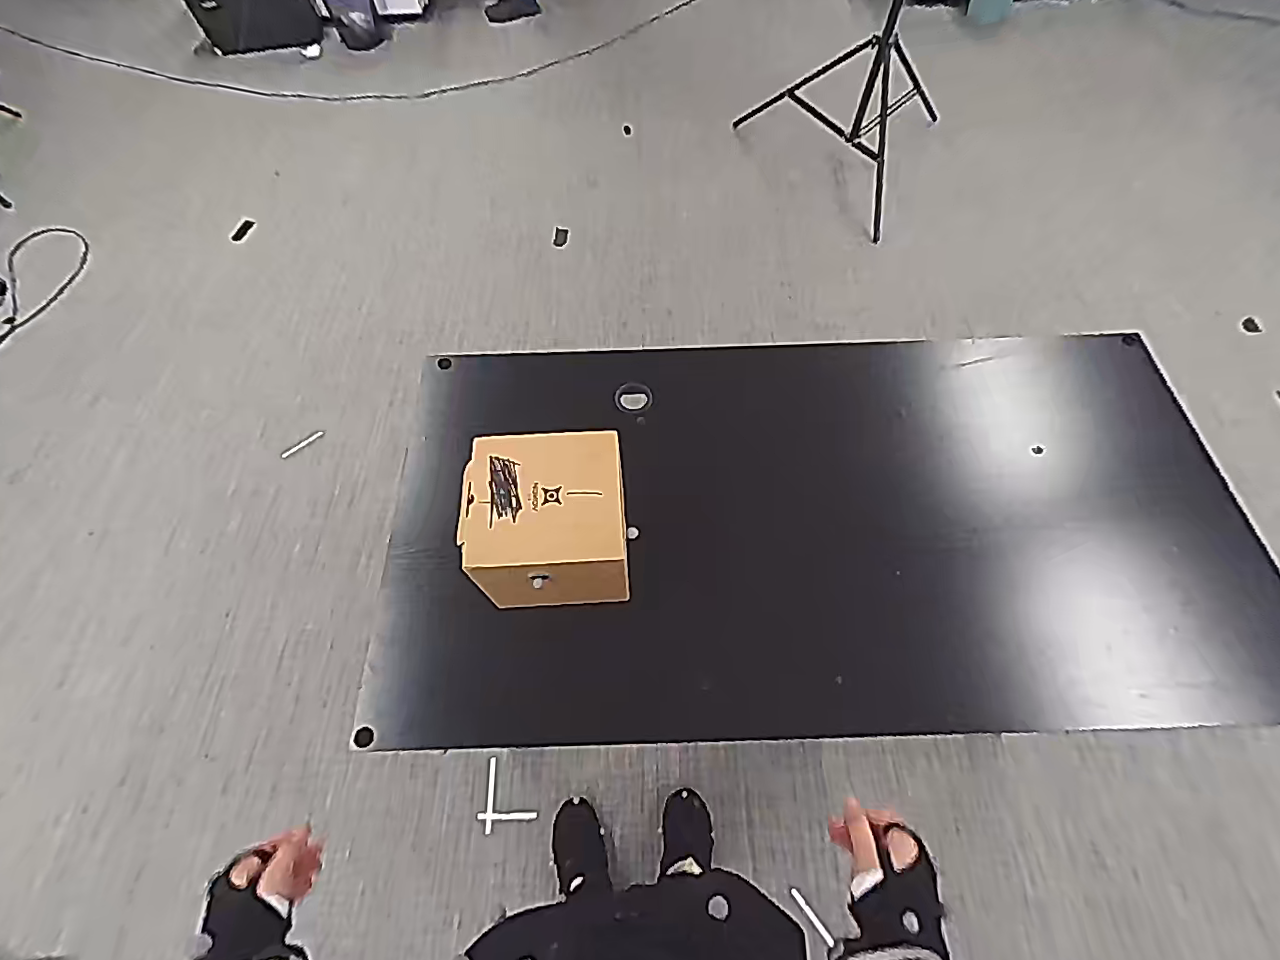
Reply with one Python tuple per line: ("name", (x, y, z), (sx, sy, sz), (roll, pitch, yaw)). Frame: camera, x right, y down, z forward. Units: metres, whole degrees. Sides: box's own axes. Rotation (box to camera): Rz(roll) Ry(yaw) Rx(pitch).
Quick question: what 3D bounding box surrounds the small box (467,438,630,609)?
("small box", (-0.105, 0.063, 0.695), (0.179, 0.176, 0.168), (-3, 62, -1))
